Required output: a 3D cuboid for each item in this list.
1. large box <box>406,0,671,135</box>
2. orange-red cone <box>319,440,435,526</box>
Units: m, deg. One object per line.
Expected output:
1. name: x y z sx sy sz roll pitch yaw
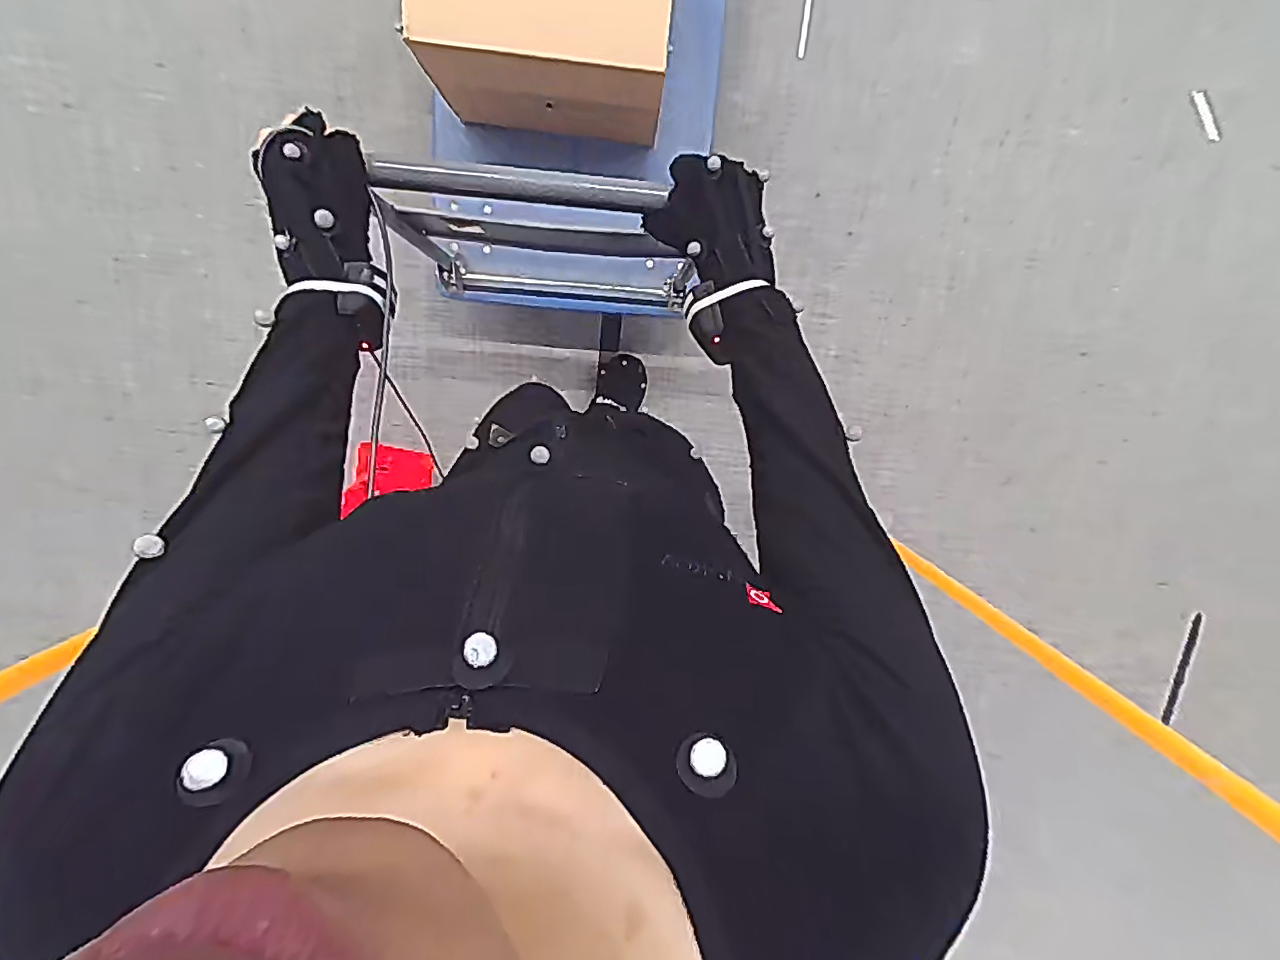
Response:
1. large box: -0.148 -0.839 0.941 0.408 0.320 0.320 5 103 -3
2. orange-red cone: -0.651 0.038 1.281 0.198 0.360 0.199 12 101 -6
